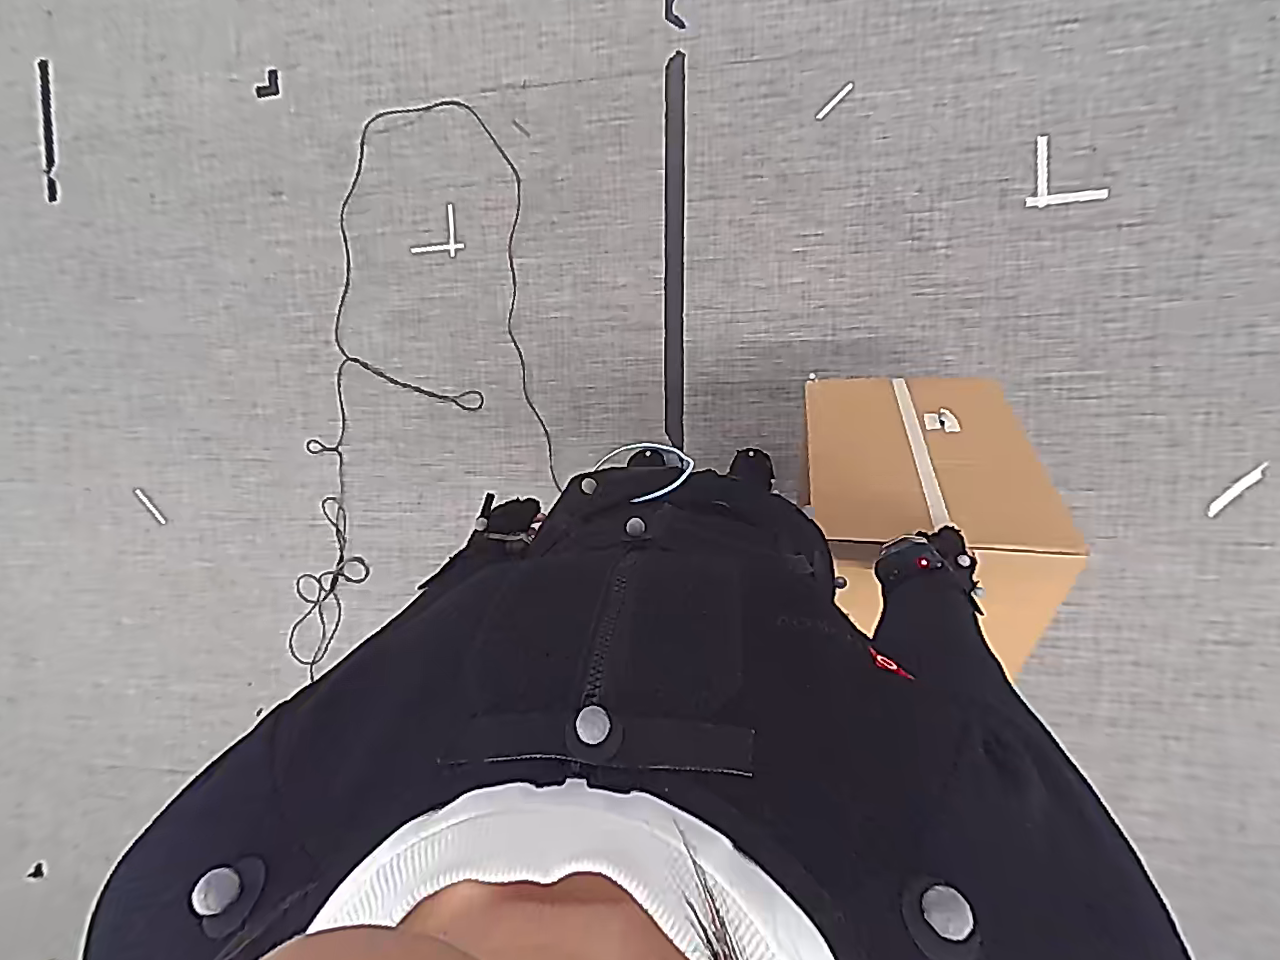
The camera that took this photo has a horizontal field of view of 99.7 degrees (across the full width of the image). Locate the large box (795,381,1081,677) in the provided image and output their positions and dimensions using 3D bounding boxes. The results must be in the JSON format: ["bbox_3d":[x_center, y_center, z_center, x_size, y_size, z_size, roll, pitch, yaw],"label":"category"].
[{"bbox_3d":[0.437,0.069,0.922,0.320,0.408,0.320,2,130,12],"label":"large box"}]
